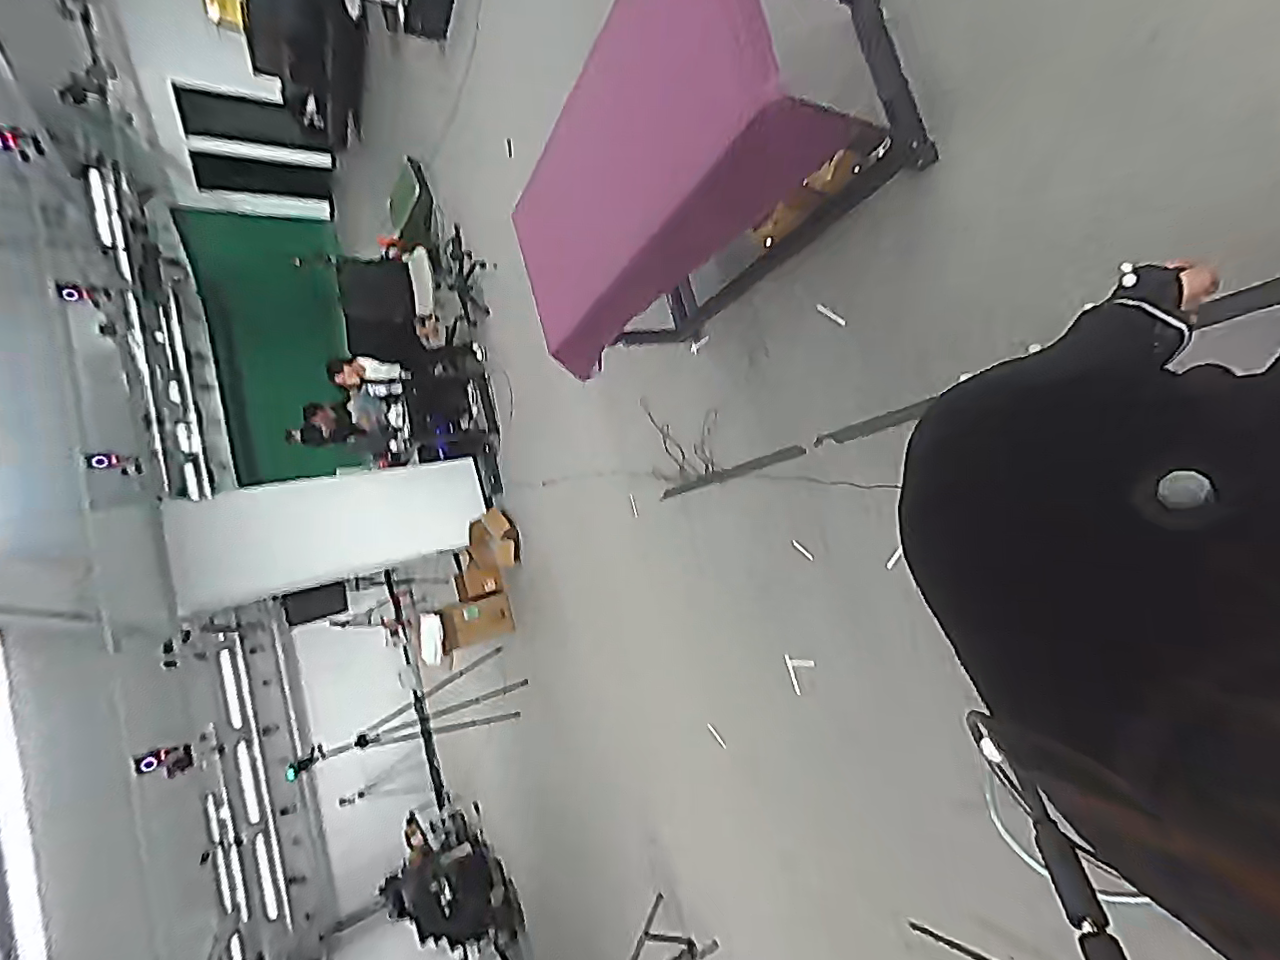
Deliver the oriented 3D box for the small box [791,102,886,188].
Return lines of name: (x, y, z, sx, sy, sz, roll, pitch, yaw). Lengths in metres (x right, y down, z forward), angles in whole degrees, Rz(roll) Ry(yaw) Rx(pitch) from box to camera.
small box: (0.613, -1.030, 1.674, 0.179, 0.176, 0.168, 58, 143, 29)
